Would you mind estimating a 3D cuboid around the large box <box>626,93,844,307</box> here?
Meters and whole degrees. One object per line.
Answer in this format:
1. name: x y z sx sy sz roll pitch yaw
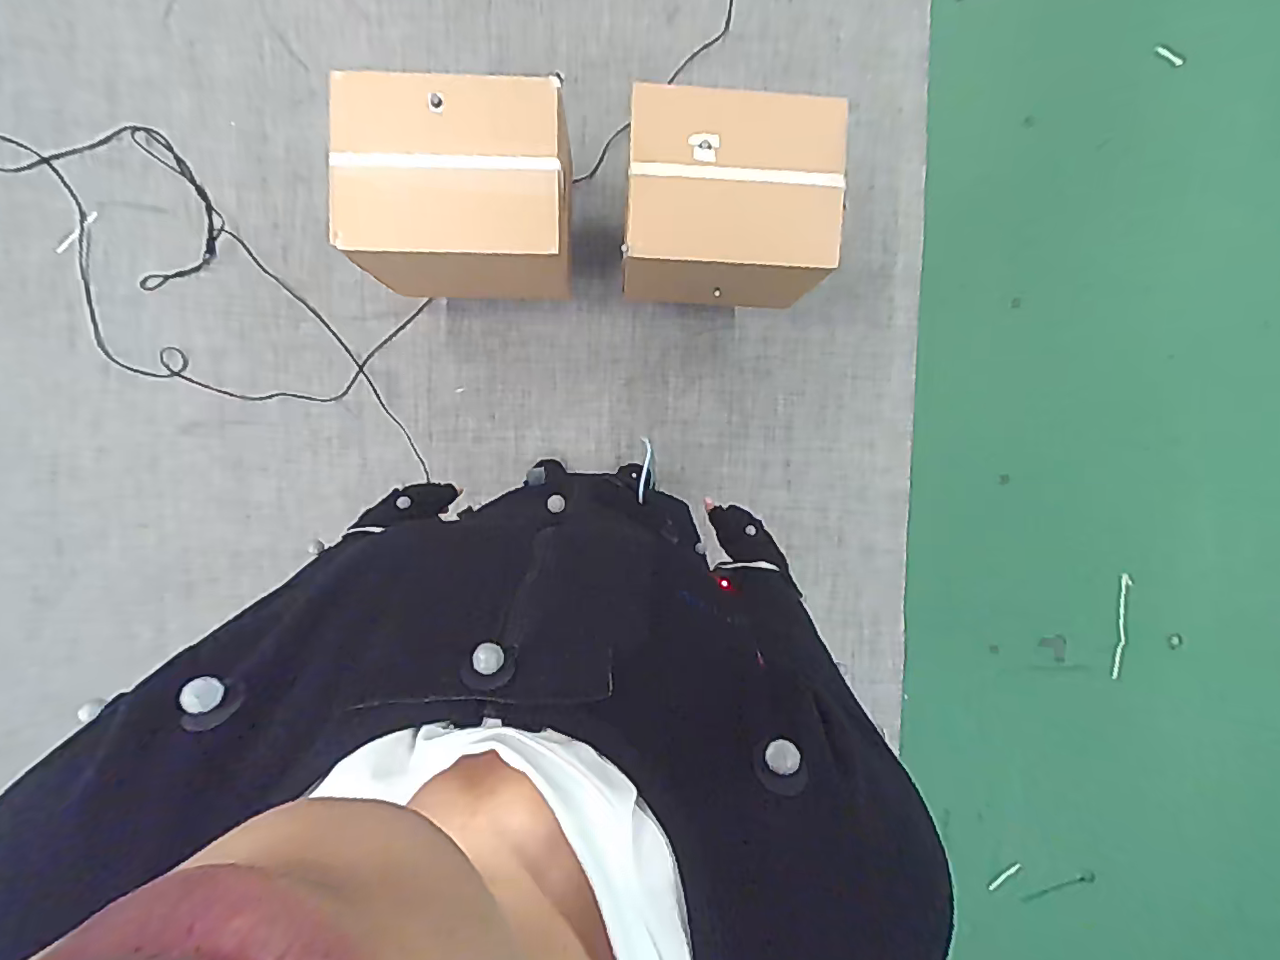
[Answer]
1. large box: 0.178 -0.569 1.166 0.408 0.320 0.320 3 93 -3
